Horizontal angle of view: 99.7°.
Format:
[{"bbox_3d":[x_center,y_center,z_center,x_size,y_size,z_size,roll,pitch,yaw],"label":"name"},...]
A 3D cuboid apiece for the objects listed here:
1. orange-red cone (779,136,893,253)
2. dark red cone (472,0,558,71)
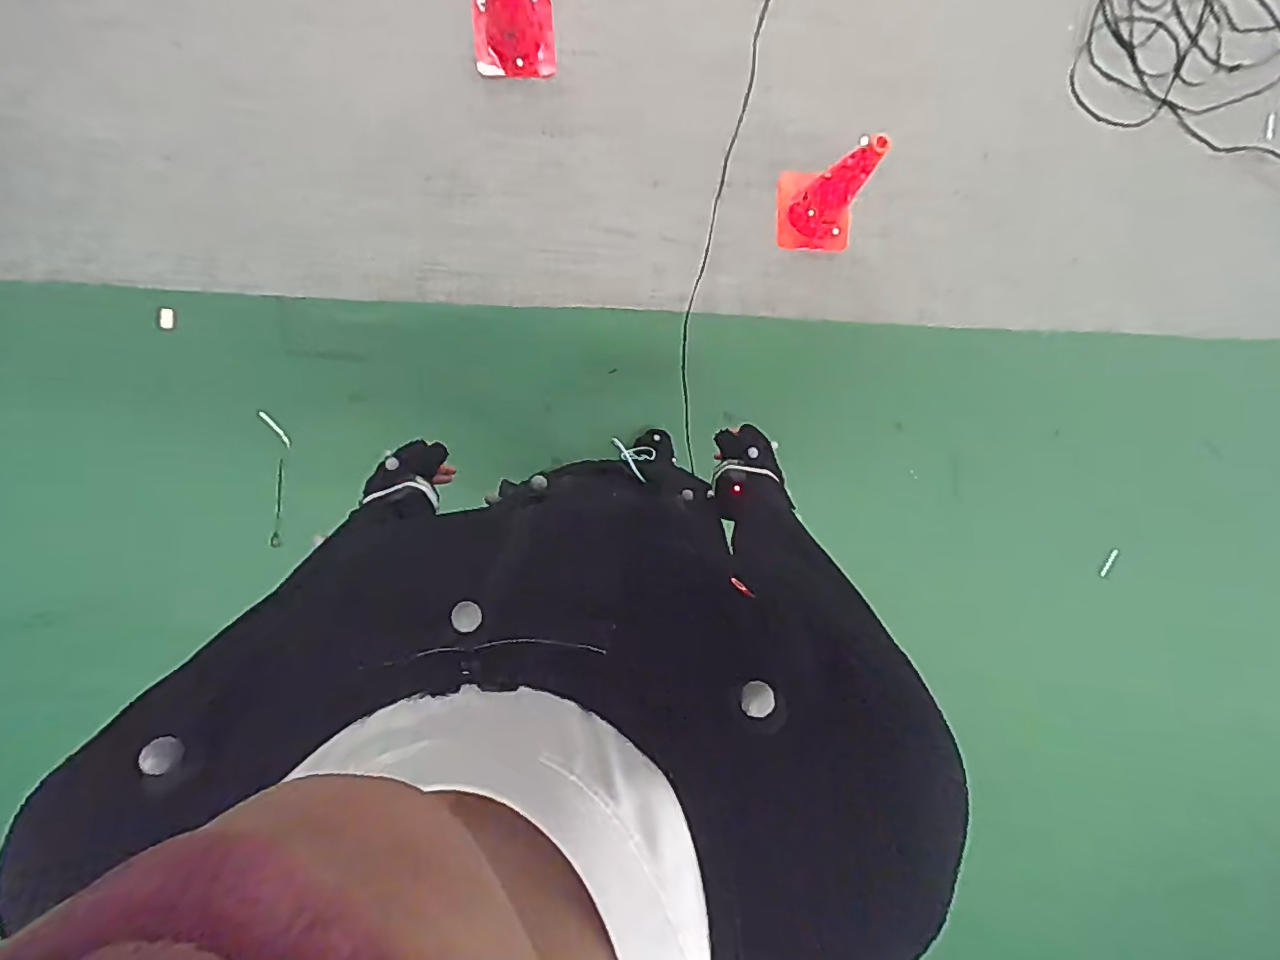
[{"bbox_3d":[0.493,-0.716,1.304,0.198,0.360,0.199,1,93,-6],"label":"orange-red cone"},{"bbox_3d":[-0.298,-1.114,1.189,0.202,0.394,0.201,-4,96,-4],"label":"dark red cone"}]
